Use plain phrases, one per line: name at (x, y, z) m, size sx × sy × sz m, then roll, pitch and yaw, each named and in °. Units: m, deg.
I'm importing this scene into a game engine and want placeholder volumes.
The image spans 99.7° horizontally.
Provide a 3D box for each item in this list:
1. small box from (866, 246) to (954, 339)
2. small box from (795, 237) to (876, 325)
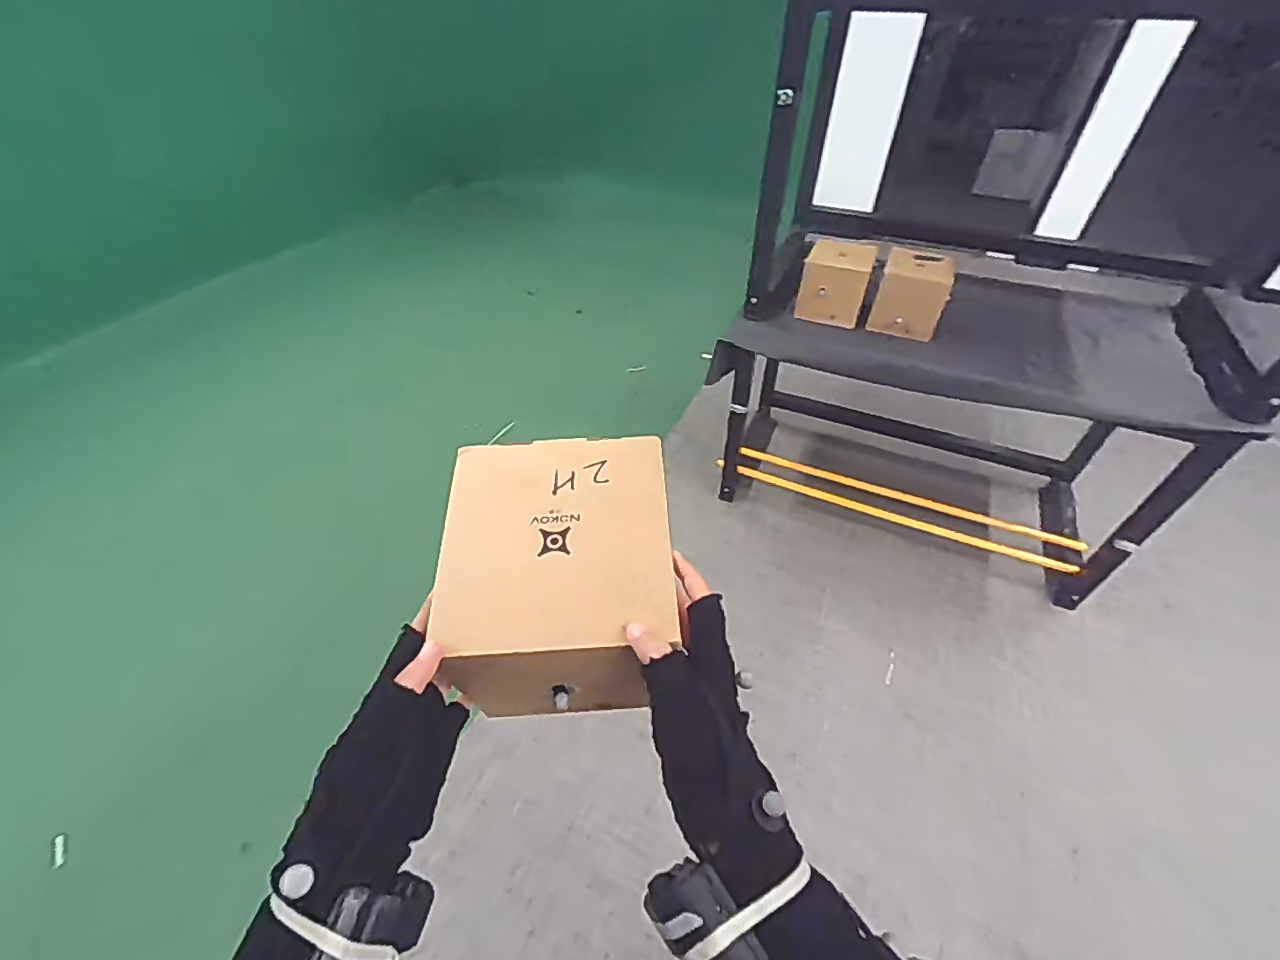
small box at (0.725, -0.506, 1.460) m, size 0.168 × 0.176 × 0.179 m, roll 17°, pitch 48°, yaw 18°
small box at (0.541, -0.554, 1.509) m, size 0.168 × 0.176 × 0.179 m, roll 17°, pitch 47°, yaw 16°
